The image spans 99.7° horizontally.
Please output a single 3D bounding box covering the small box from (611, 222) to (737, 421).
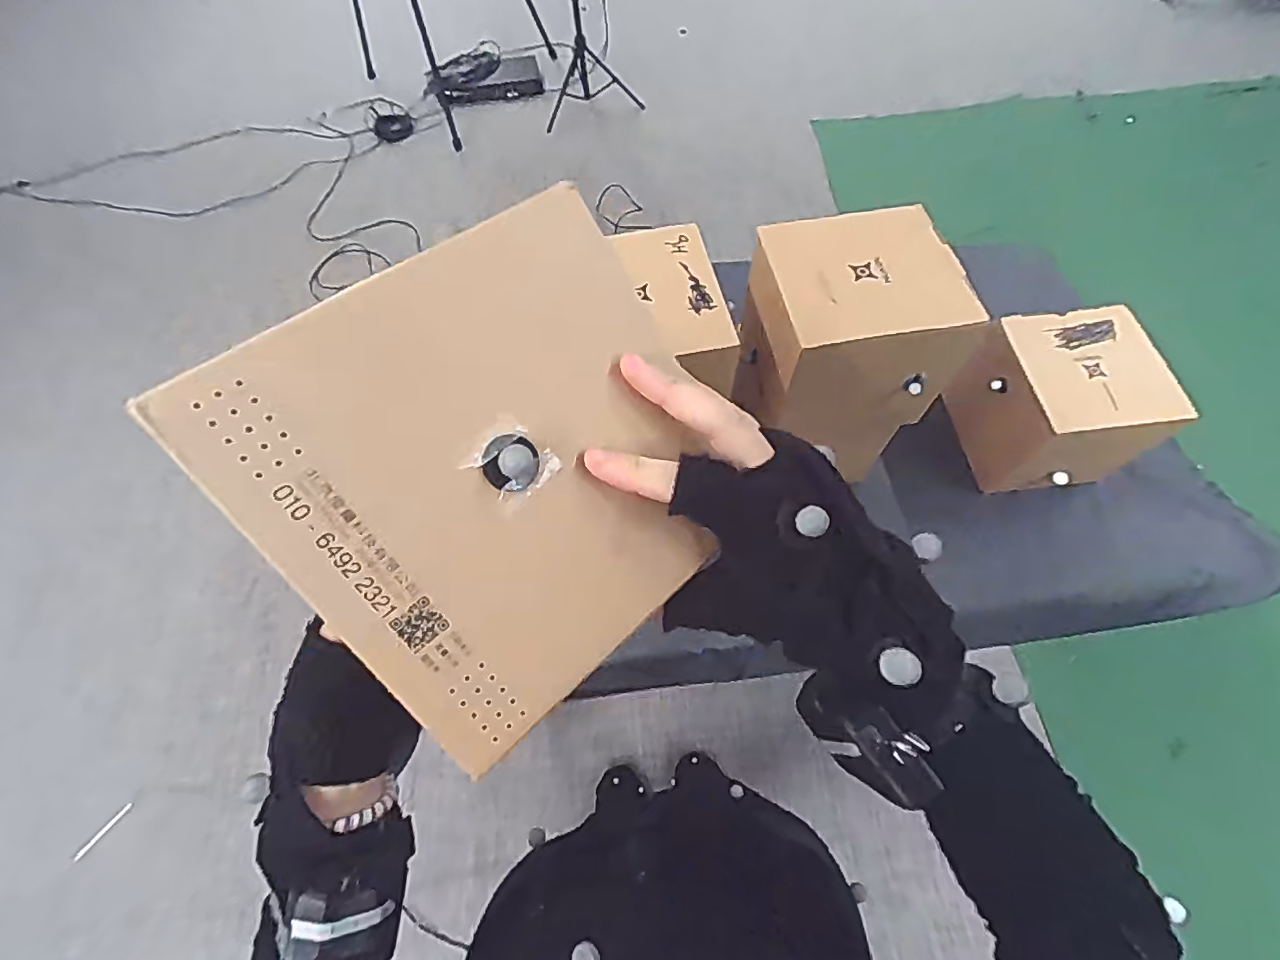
[{"bbox_3d":[-0.004,-0.144,0.593,0.179,0.176,0.168,-12,65,-2],"label":"small box"}]

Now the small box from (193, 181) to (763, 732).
[{"bbox_3d":[-0.079,-0.008,0.284,0.176,0.179,0.168,-40,107,-21],"label":"small box"}]
